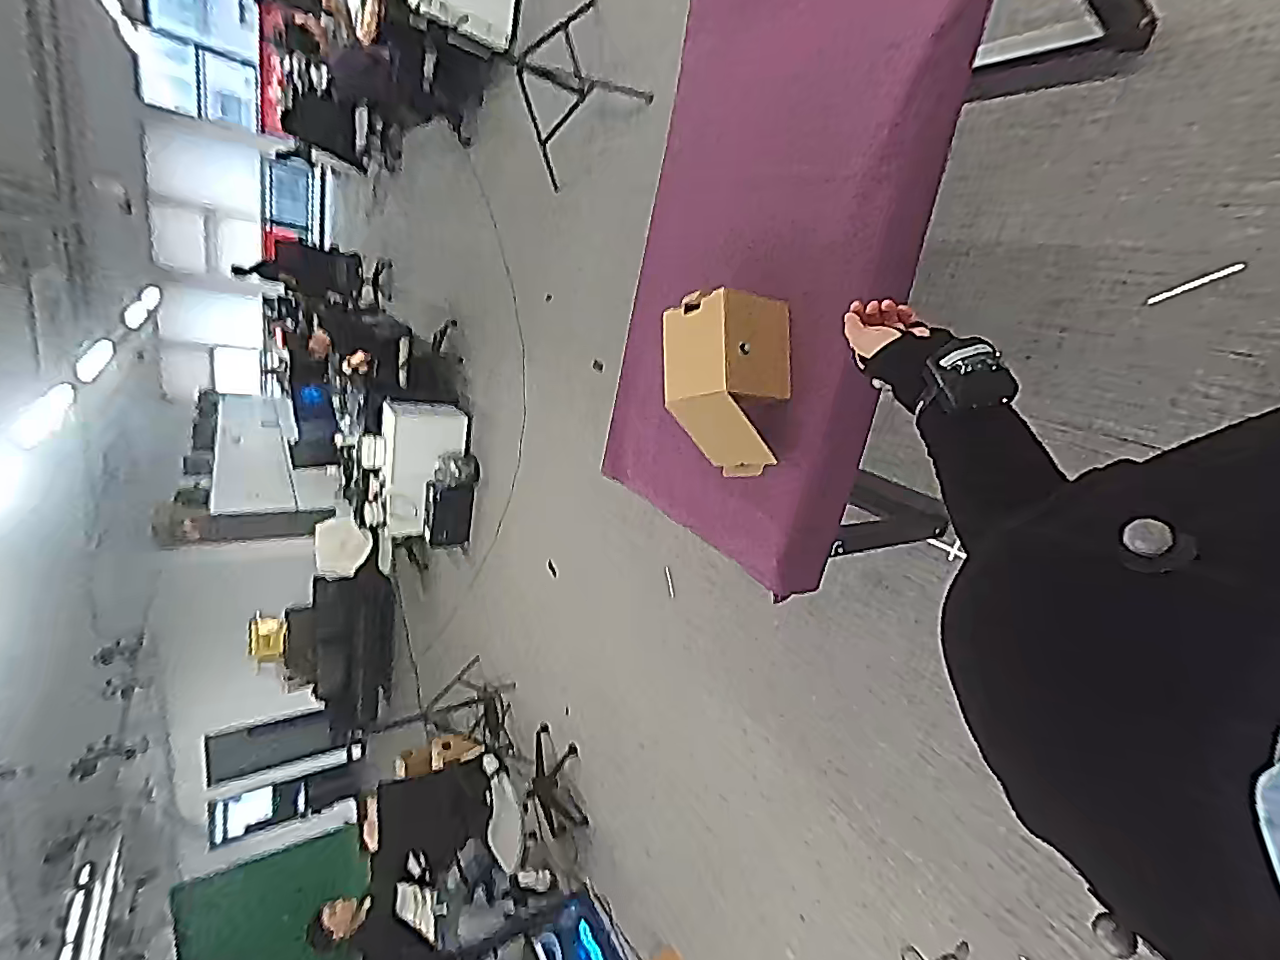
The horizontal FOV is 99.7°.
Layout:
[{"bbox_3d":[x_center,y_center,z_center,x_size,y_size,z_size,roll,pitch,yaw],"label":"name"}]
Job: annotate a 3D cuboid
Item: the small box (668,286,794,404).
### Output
[{"bbox_3d":[0.169,-0.236,1.000,0.168,0.176,0.179,0,90,54],"label":"small box"}]
